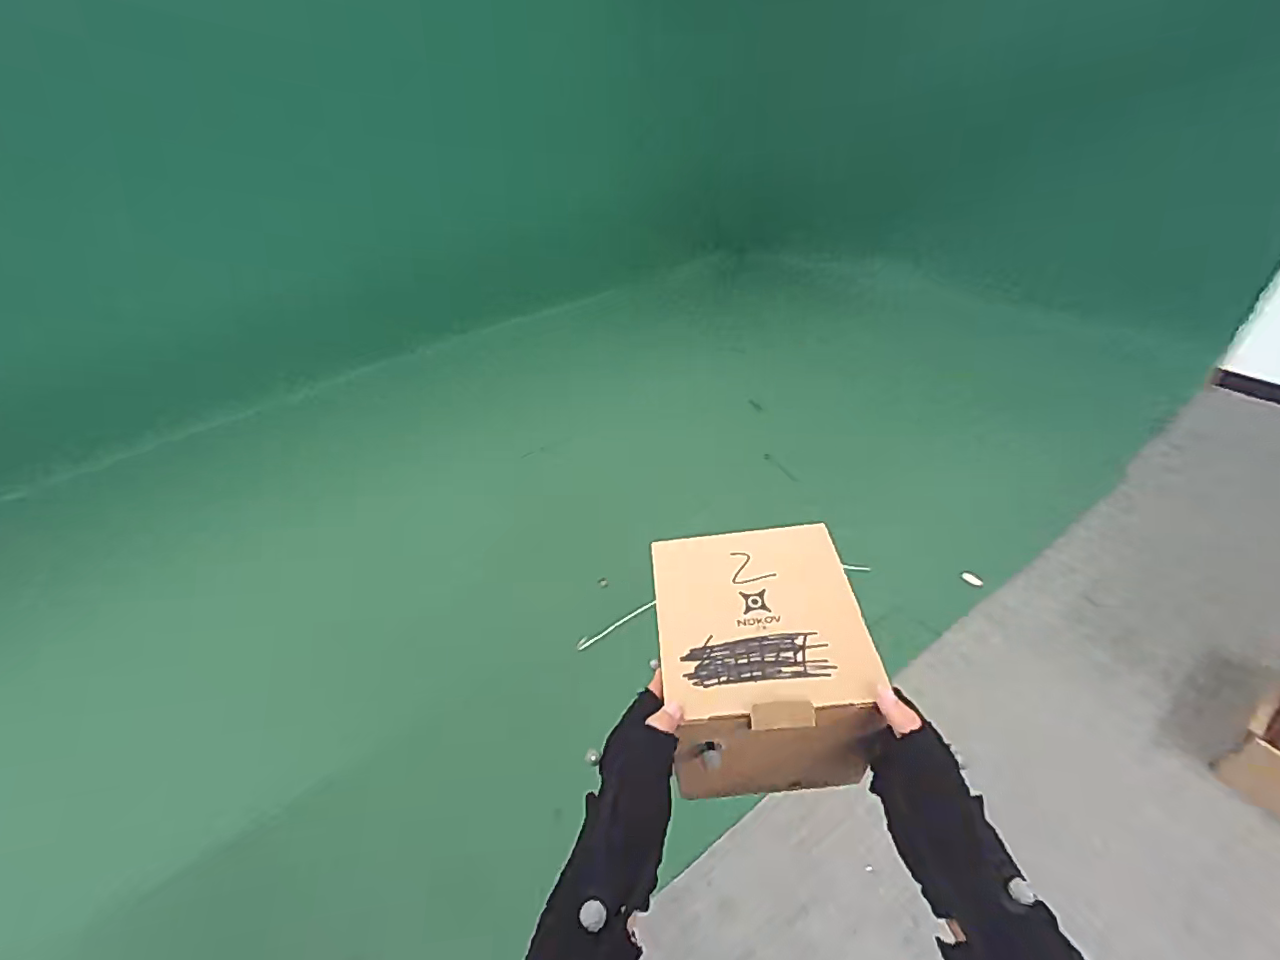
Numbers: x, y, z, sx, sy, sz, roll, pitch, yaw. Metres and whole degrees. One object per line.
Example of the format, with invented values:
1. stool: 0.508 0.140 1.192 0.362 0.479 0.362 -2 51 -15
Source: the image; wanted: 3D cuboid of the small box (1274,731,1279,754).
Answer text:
1. small box: 1.599 0.579 1.207 0.179 0.176 0.168 -27 45 -23
